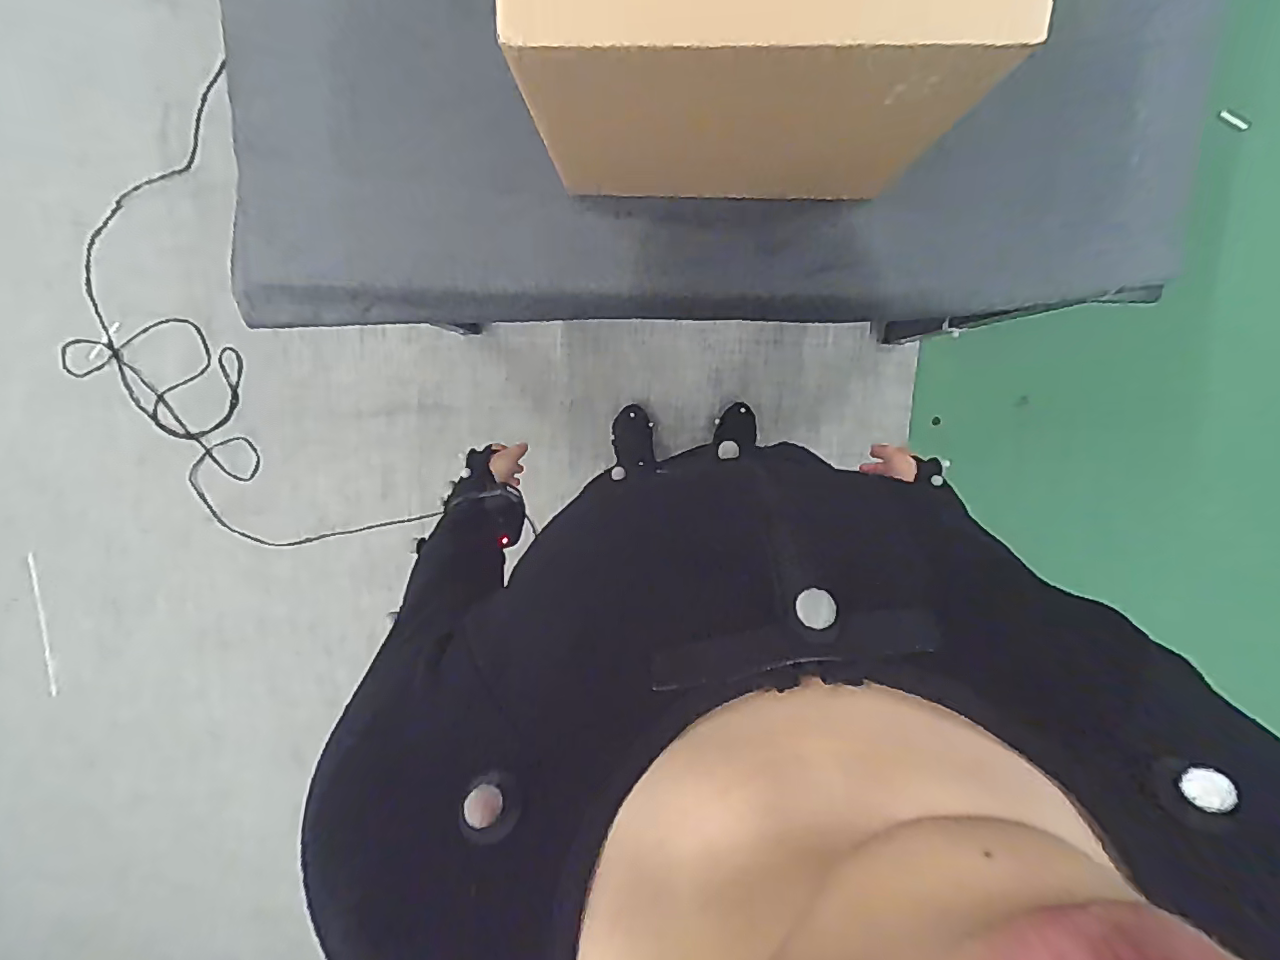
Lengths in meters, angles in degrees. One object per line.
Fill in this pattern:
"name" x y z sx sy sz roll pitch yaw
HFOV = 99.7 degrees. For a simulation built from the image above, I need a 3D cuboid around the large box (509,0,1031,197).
"large box" 0.099 -0.503 0.541 0.408 0.320 0.320 1 99 2
